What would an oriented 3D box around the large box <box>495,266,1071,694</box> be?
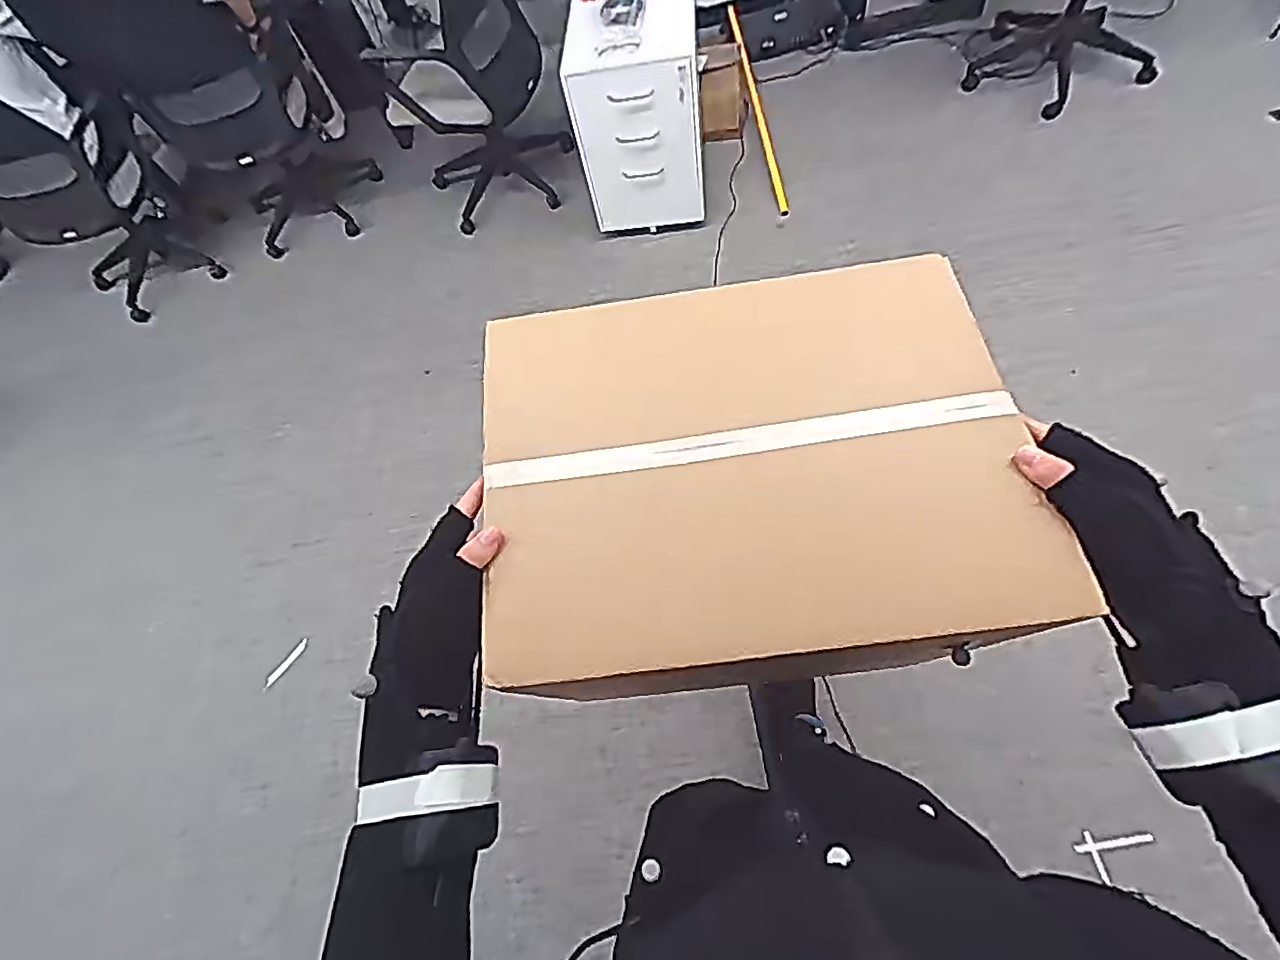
[{"bbox_3d":[0.096,0.035,0.566,0.408,0.320,0.320,-8,65,3],"label":"large box"}]
